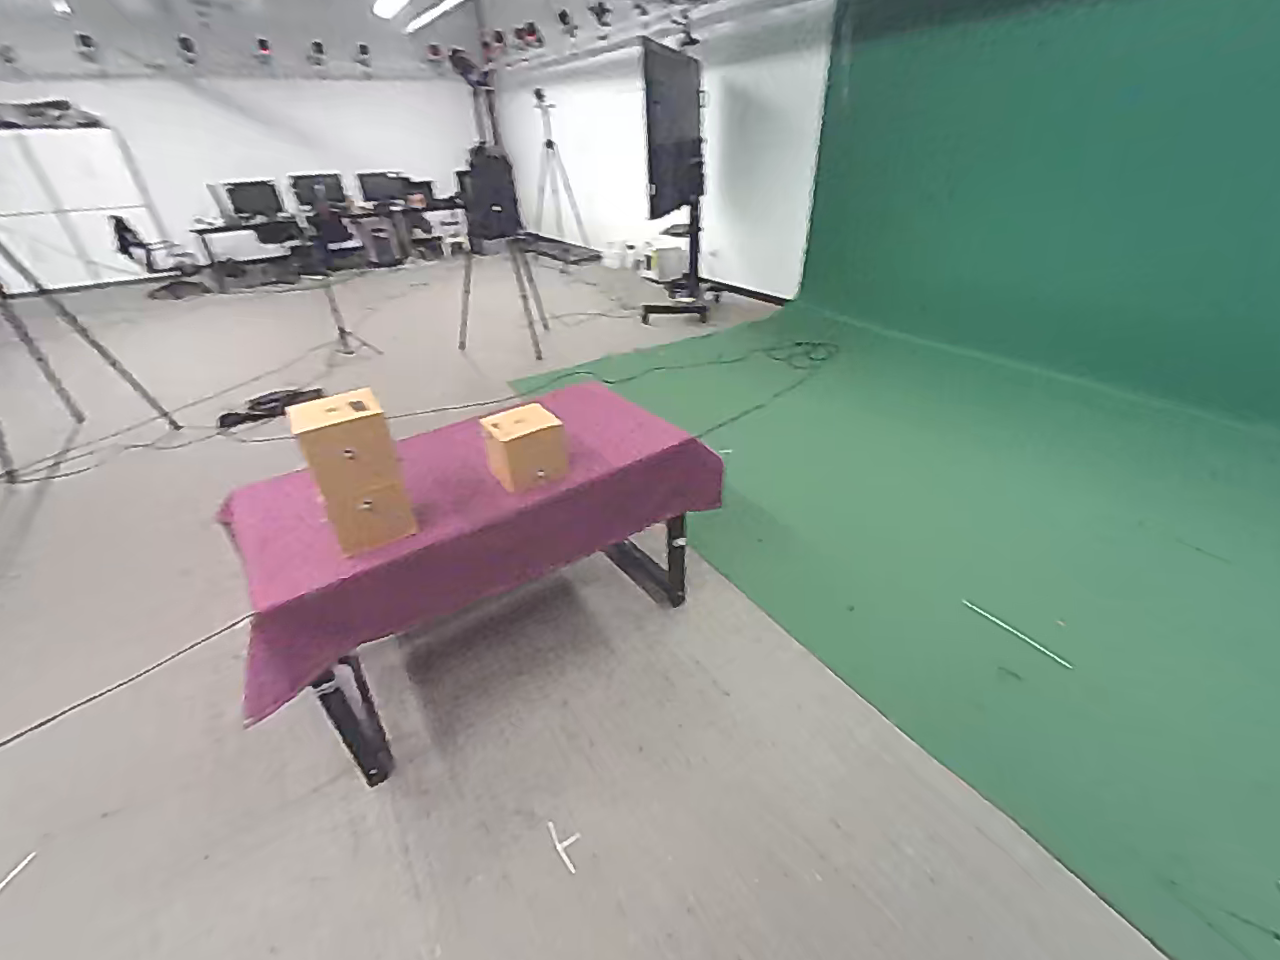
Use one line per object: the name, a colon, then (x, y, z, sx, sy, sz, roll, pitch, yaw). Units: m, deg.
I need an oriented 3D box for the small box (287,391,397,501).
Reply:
small box: (-0.669, -0.079, 1.228, 0.179, 0.176, 0.168, -22, 38, -26)

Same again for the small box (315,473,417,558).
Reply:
small box: (-0.666, 0.062, 1.312, 0.179, 0.176, 0.168, -20, 37, -26)

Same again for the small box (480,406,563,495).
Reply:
small box: (-0.326, -0.084, 1.515, 0.179, 0.176, 0.168, -21, 37, -27)
